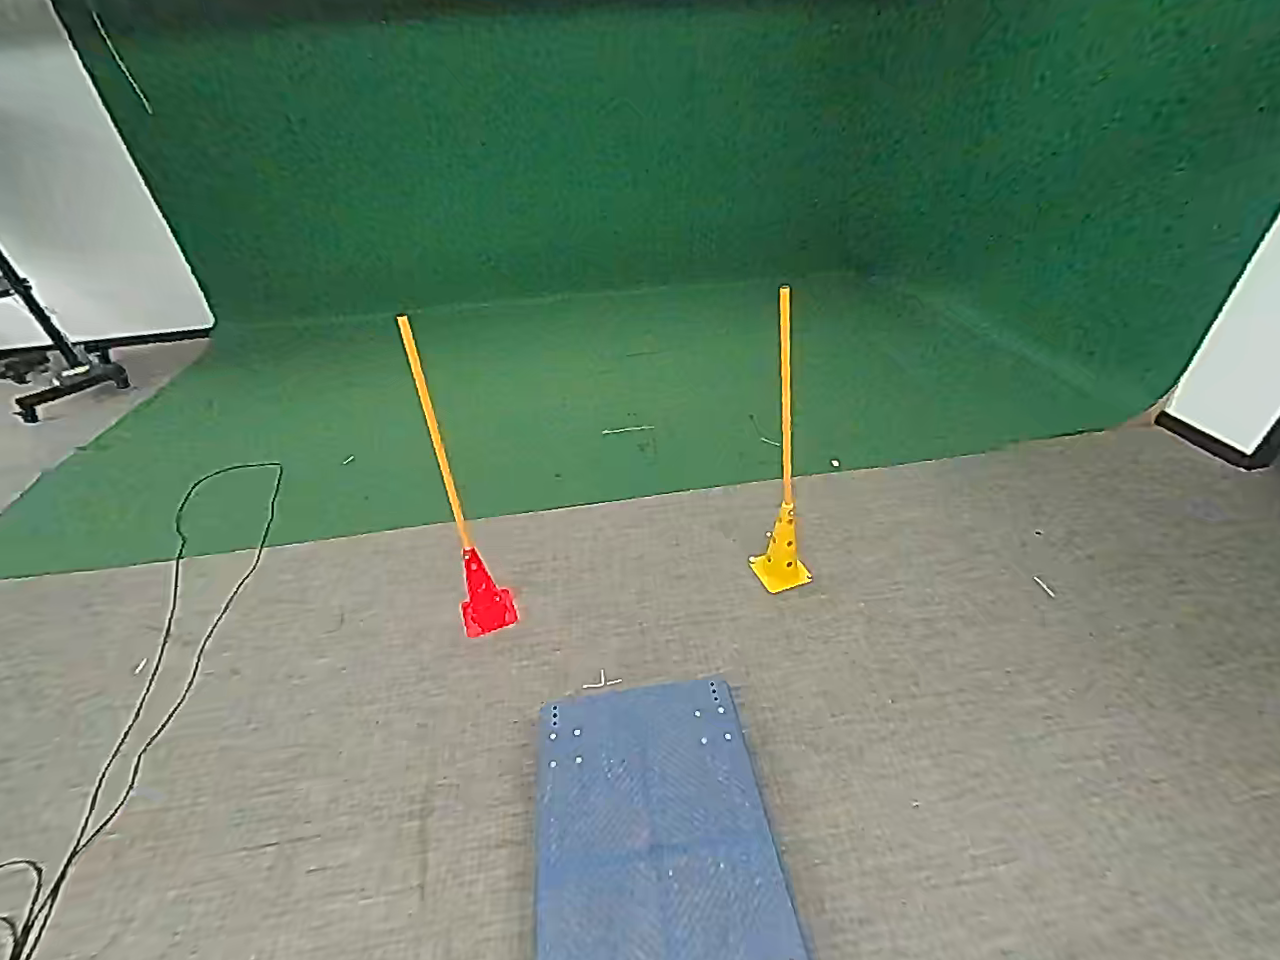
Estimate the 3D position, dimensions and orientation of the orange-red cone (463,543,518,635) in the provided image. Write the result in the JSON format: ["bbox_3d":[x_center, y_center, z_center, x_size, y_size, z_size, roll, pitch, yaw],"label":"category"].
[{"bbox_3d":[-0.605,0.378,2.034,0.199,0.360,0.198,-18,38,-15],"label":"orange-red cone"}]
